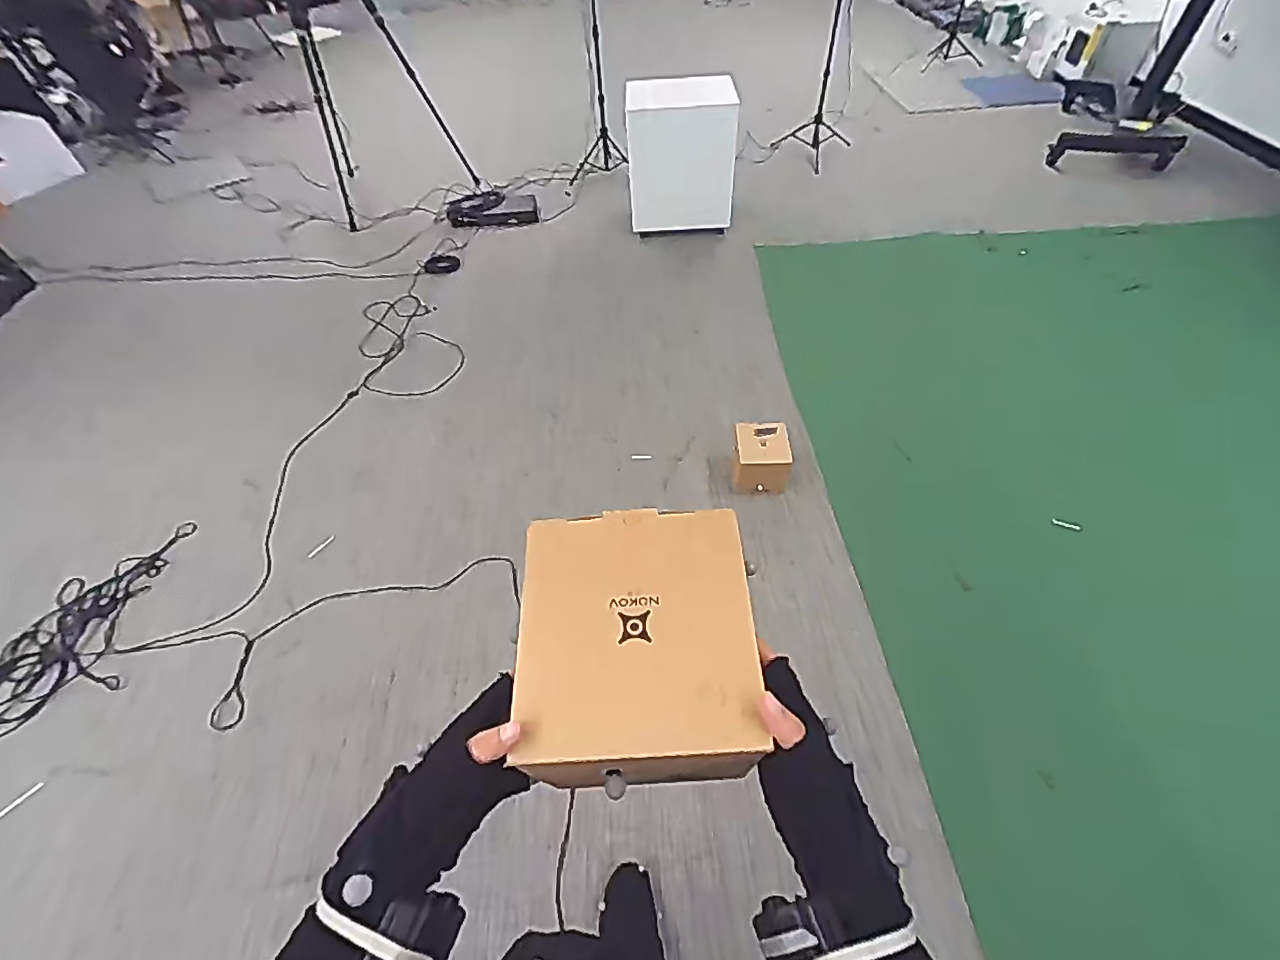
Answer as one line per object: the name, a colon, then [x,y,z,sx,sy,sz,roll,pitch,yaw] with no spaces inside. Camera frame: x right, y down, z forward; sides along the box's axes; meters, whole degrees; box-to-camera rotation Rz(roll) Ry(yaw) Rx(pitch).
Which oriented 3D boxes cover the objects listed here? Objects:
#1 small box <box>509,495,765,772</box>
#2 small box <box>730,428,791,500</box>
small box: [0.000,0.135,0.448,0.168,0.176,0.179,-4,54,1]
small box: [0.394,-0.053,1.801,0.168,0.176,0.179,-1,52,2]
